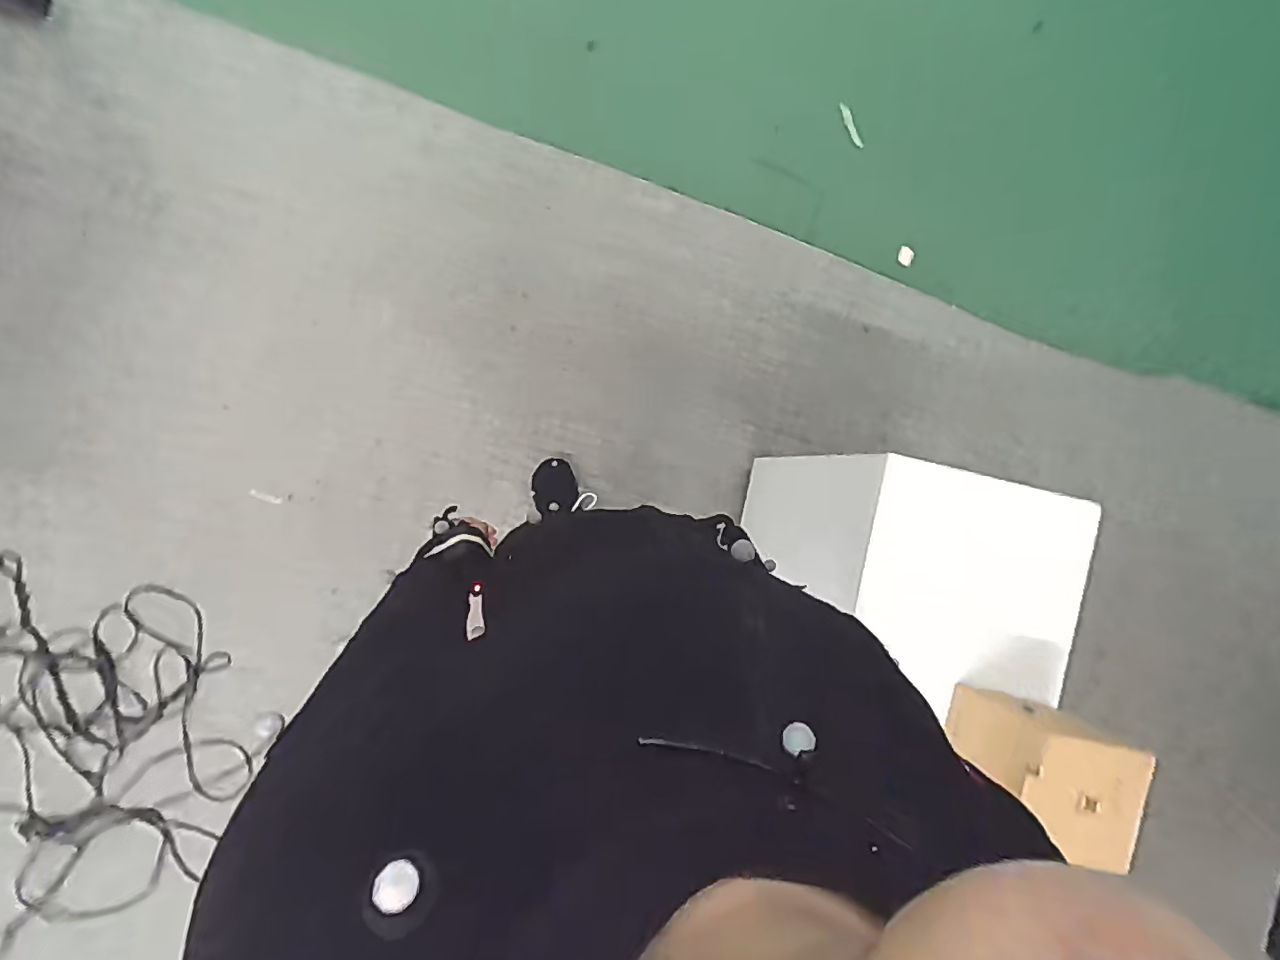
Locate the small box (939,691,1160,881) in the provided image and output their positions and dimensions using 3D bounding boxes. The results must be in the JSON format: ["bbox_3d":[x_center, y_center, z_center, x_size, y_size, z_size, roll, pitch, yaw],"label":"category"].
[{"bbox_3d":[0.574,0.426,0.781,0.179,0.176,0.168,15,89,-9],"label":"small box"}]
